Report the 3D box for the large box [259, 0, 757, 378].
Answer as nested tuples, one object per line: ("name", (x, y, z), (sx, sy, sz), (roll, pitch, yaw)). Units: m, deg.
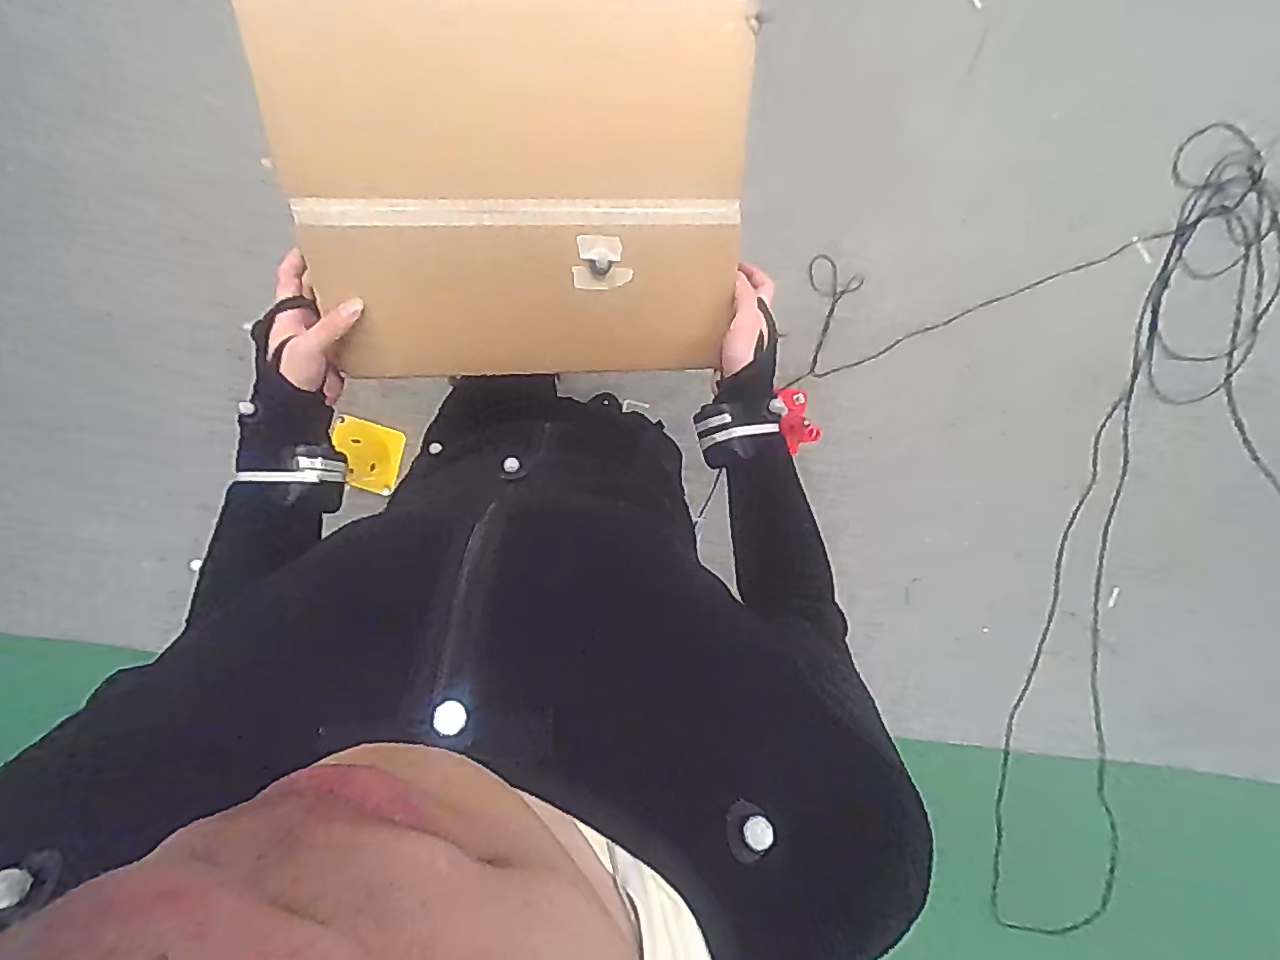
("large box", (-0.118, -0.324, 0.634), (0.408, 0.320, 0.320), (-4, 121, -7))
